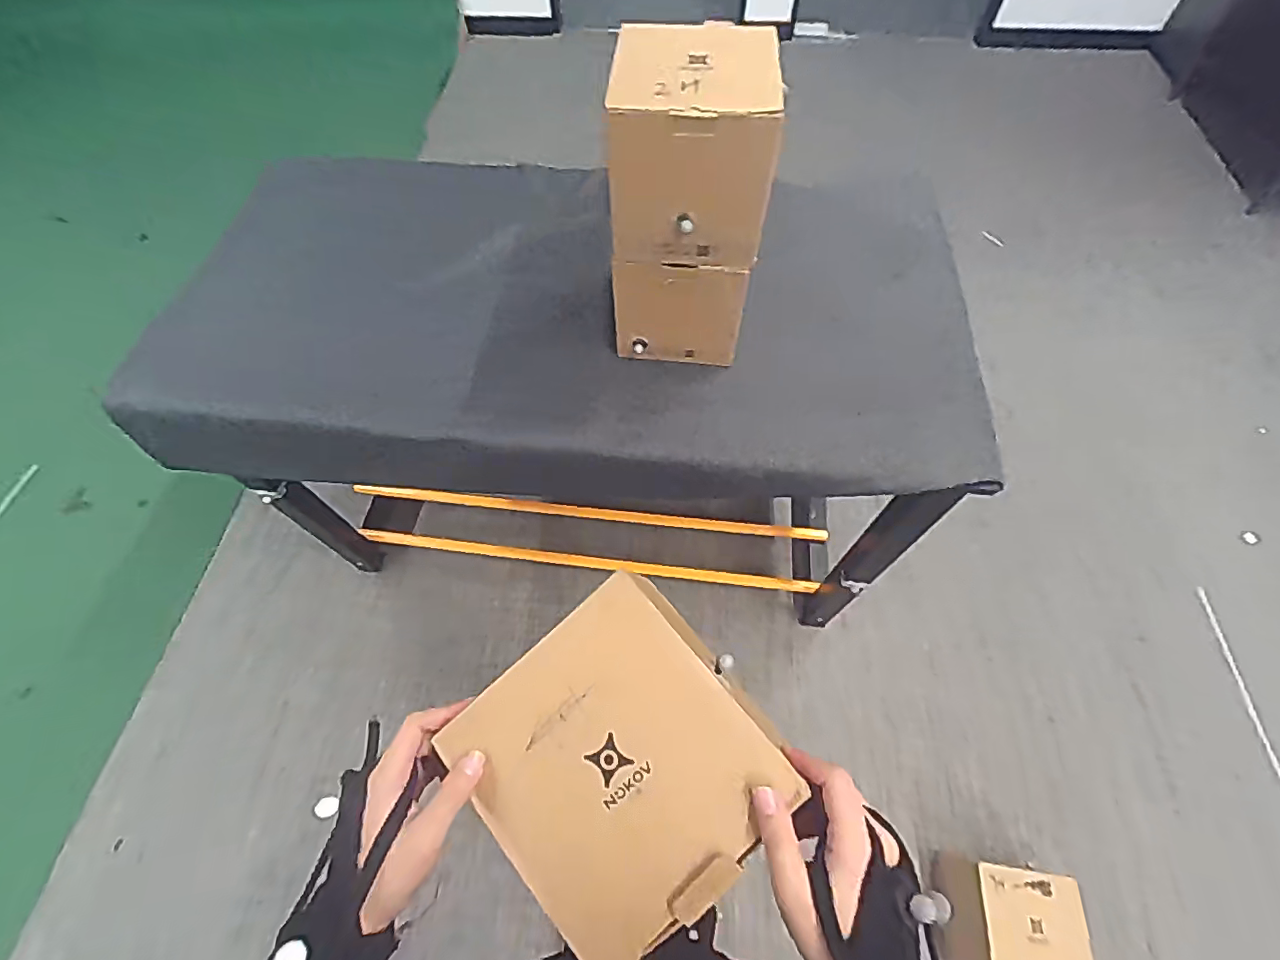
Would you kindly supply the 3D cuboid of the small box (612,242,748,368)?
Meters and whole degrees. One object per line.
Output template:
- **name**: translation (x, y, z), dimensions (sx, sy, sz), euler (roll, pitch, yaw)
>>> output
- **small box**: translation (0.060, -0.277, 0.750), dimensions (0.168, 0.176, 0.179), euler (6, 59, 4)

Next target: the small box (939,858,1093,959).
- **small box**: translation (0.655, 0.798, 0.956), dimensions (0.168, 0.176, 0.179), euler (7, 62, 5)

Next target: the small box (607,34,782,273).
- **small box**: translation (0.059, -0.362, 0.609), dimensions (0.168, 0.176, 0.179), euler (4, 60, 4)
